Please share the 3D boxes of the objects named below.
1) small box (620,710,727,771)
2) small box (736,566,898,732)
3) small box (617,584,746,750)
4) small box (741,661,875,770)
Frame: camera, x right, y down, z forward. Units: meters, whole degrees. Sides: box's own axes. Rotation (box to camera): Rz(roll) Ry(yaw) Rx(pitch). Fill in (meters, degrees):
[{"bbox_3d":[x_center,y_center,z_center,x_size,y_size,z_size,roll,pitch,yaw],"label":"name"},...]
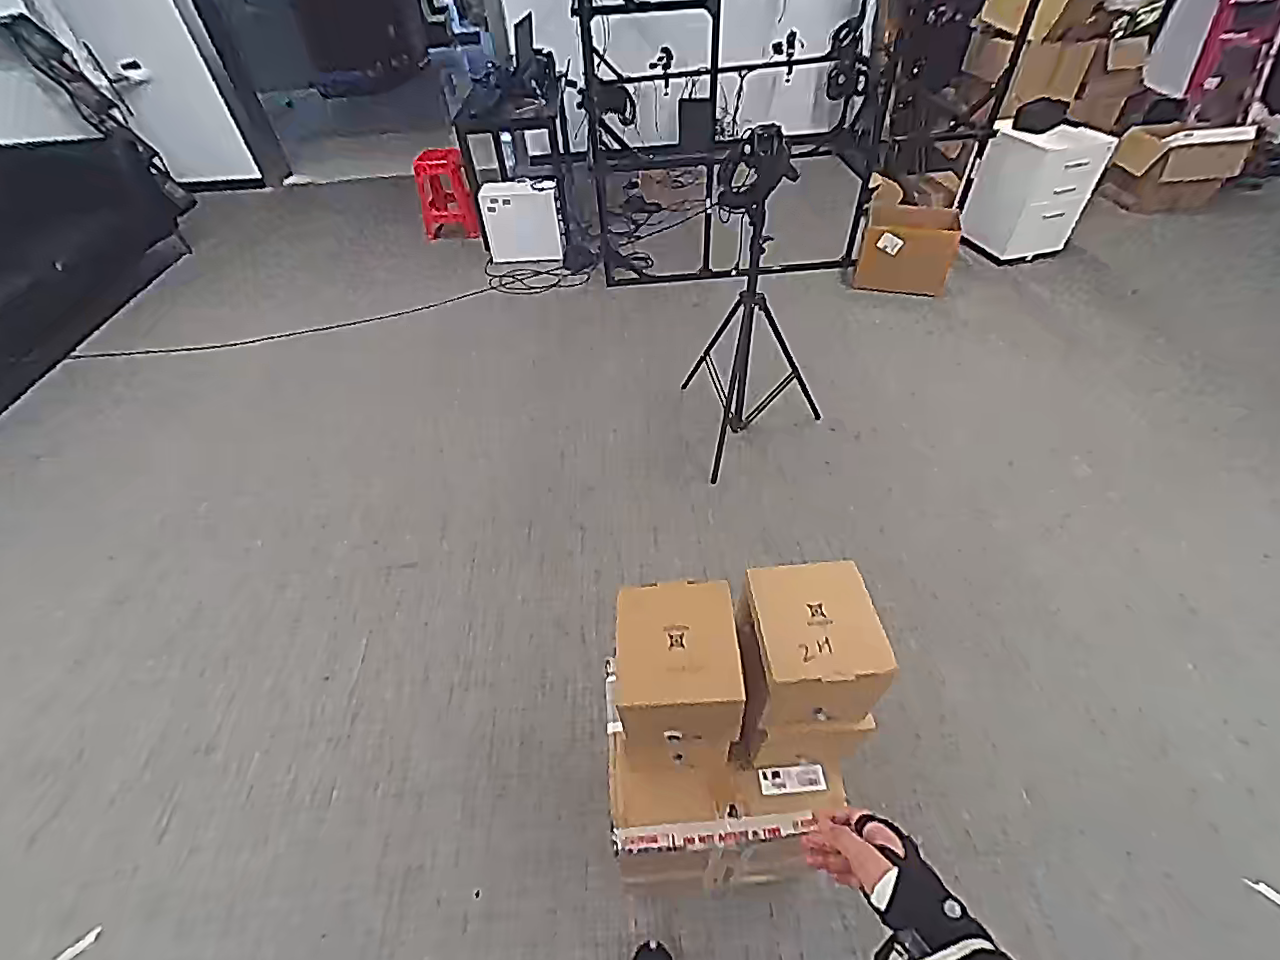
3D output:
[{"bbox_3d":[0.056,0.380,0.914,0.168,0.176,0.179,-4,48,2],"label":"small box"},{"bbox_3d":[0.244,0.249,0.801,0.168,0.176,0.179,-4,47,-2],"label":"small box"},{"bbox_3d":[0.056,0.274,0.789,0.168,0.176,0.179,-5,48,3],"label":"small box"},{"bbox_3d":[0.265,0.370,0.913,0.168,0.176,0.179,-3,48,-1],"label":"small box"}]
